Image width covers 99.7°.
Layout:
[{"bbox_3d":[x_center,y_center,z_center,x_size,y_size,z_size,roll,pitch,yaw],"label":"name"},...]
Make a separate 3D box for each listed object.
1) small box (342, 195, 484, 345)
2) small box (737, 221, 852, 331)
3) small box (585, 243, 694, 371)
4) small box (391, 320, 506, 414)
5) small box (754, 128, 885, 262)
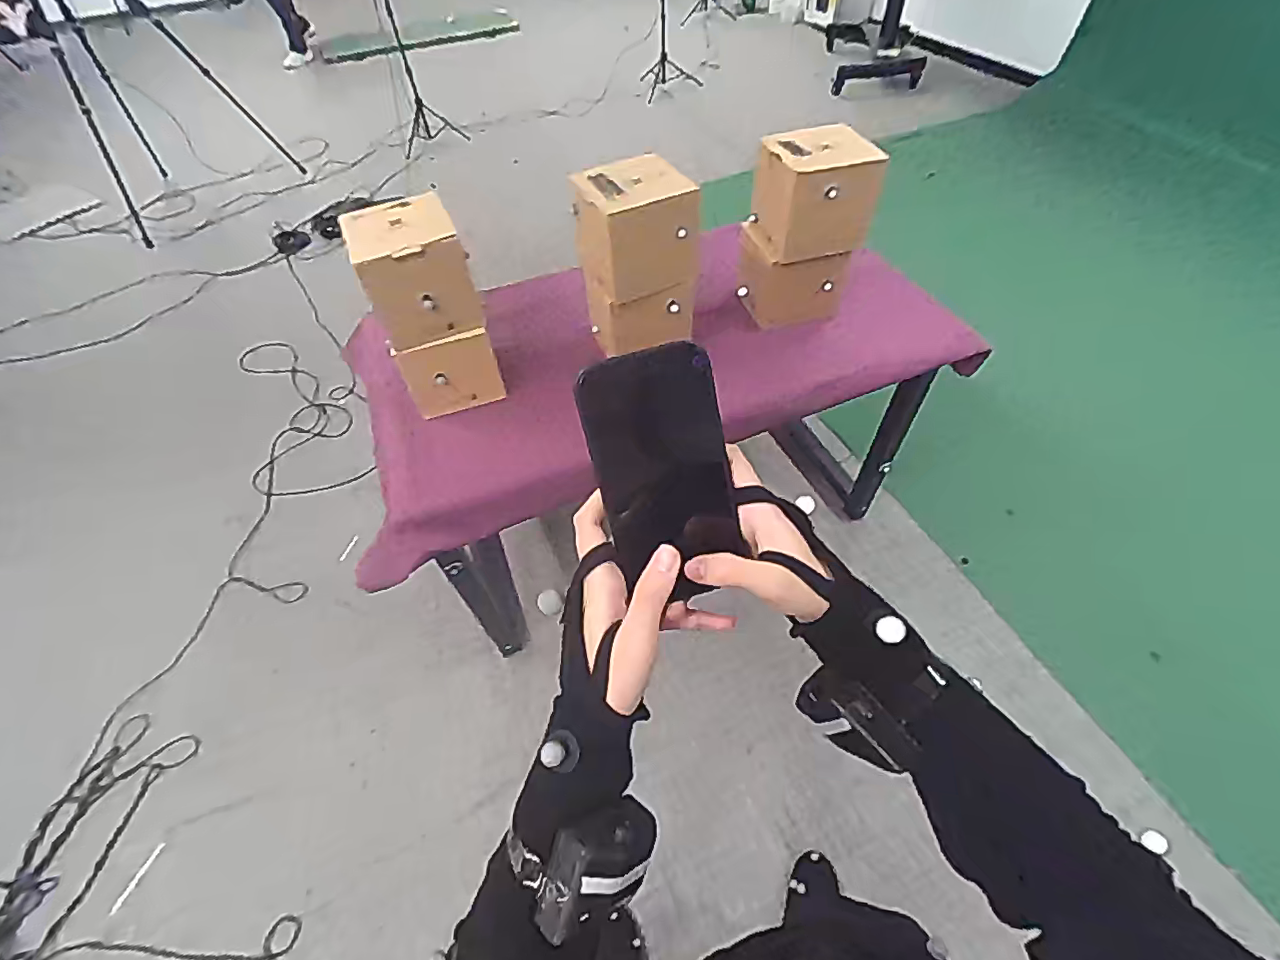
[{"bbox_3d":[-0.385,-0.354,0.936,0.168,0.176,0.179,-22,55,-13],"label":"small box"},{"bbox_3d":[0.322,-0.448,1.168,0.179,0.176,0.168,-13,52,-6],"label":"small box"},{"bbox_3d":[-0.001,-0.355,1.116,0.179,0.176,0.168,-18,53,-10],"label":"small box"},{"bbox_3d":[-0.373,-0.249,1.061,0.168,0.176,0.179,-18,53,-10],"label":"small box"},{"bbox_3d":[0.327,-0.539,1.031,0.179,0.176,0.168,-13,53,-7],"label":"small box"}]
